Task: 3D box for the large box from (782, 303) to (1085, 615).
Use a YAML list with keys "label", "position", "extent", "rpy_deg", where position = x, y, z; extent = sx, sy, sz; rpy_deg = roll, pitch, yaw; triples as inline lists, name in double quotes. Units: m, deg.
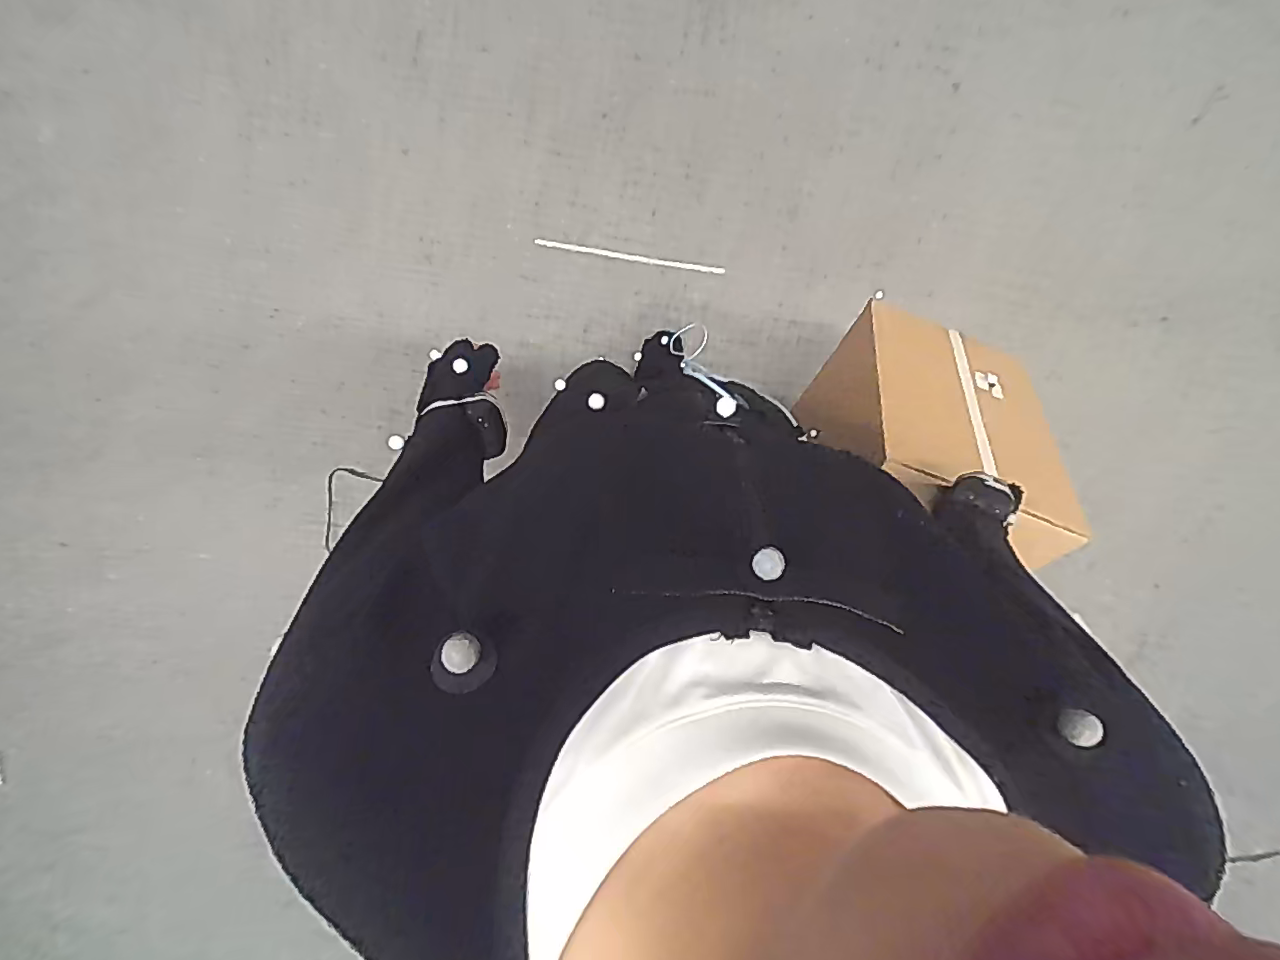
- label: "large box"
  position: [0.468, -0.033, 0.965]
  extent: [0.320, 0.408, 0.320]
  rpy_deg: [21, 141, -5]
